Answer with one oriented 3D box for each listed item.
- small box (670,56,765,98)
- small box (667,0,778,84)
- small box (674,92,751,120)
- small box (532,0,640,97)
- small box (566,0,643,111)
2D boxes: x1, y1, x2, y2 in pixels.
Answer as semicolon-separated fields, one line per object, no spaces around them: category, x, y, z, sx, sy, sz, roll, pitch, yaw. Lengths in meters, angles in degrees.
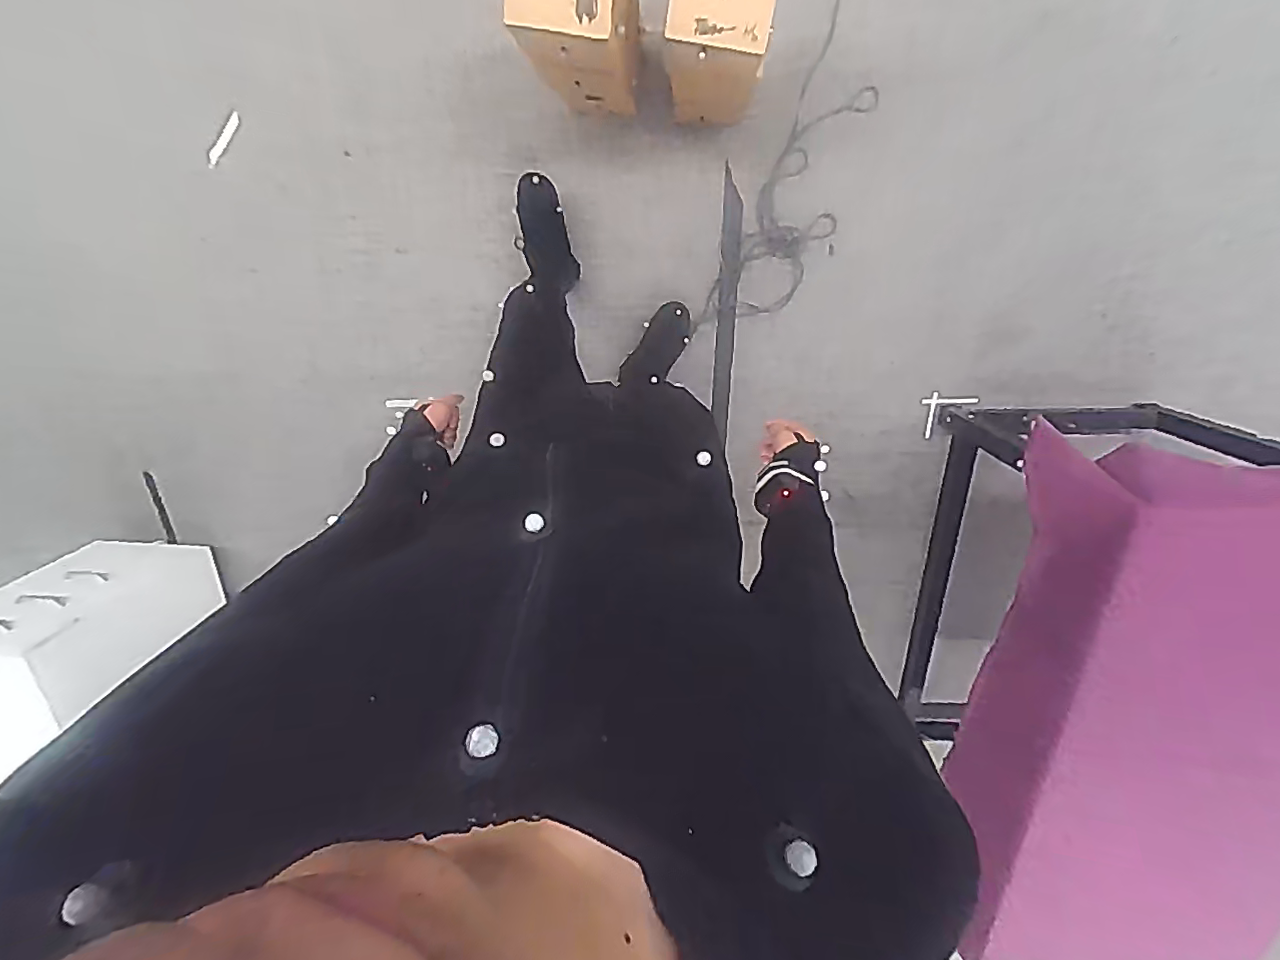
small box;0.152;-0.864;1.051;0.179;0.176;0.168;3;112;3
small box;0.140;-0.801;0.900;0.168;0.176;0.179;10;111;0
small box;0.161;-0.925;1.201;0.168;0.176;0.179;2;112;3
small box;-0.100;-0.877;1.057;0.179;0.176;0.168;10;112;1
small box;-0.083;-0.953;1.202;0.168;0.176;0.179;6;113;2
